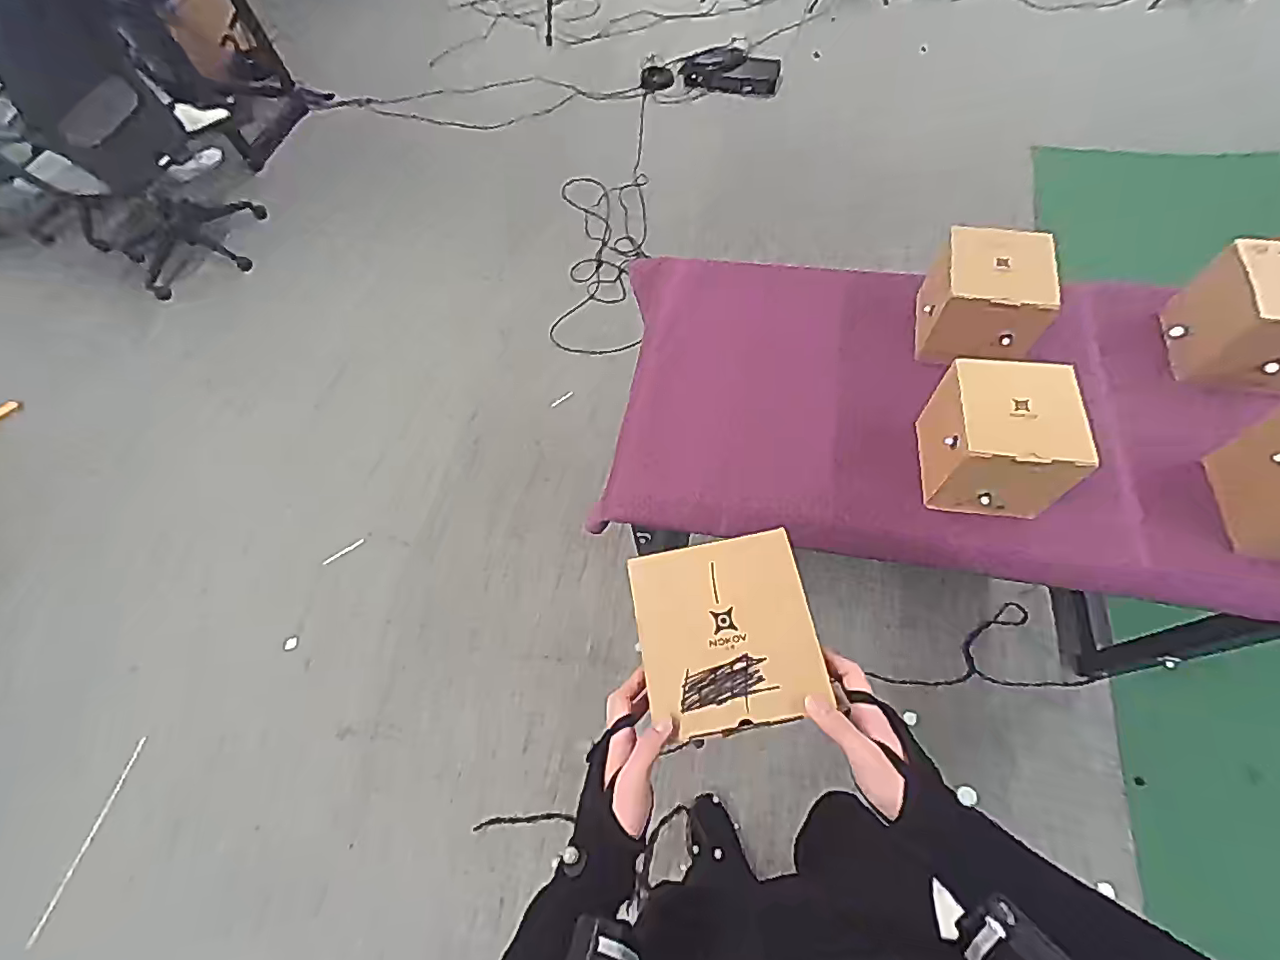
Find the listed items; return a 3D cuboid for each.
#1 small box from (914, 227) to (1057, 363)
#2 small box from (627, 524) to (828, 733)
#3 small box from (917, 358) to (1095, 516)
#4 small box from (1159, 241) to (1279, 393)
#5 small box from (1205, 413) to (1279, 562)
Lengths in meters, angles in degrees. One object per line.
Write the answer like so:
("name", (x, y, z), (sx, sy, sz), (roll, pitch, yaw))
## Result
("small box", (0.612, -0.322, 0.978), (0.168, 0.176, 0.179), (11, 64, 11))
("small box", (0.089, 0.166, 0.590), (0.168, 0.176, 0.179), (-11, 66, 4))
("small box", (0.550, -0.063, 0.845), (0.168, 0.176, 0.179), (6, 62, 8))
("small box", (1.028, -0.266, 0.902), (0.168, 0.176, 0.179), (9, 66, 10))
("small box", (0.966, 0.009, 0.759), (0.168, 0.176, 0.179), (7, 62, 11))
